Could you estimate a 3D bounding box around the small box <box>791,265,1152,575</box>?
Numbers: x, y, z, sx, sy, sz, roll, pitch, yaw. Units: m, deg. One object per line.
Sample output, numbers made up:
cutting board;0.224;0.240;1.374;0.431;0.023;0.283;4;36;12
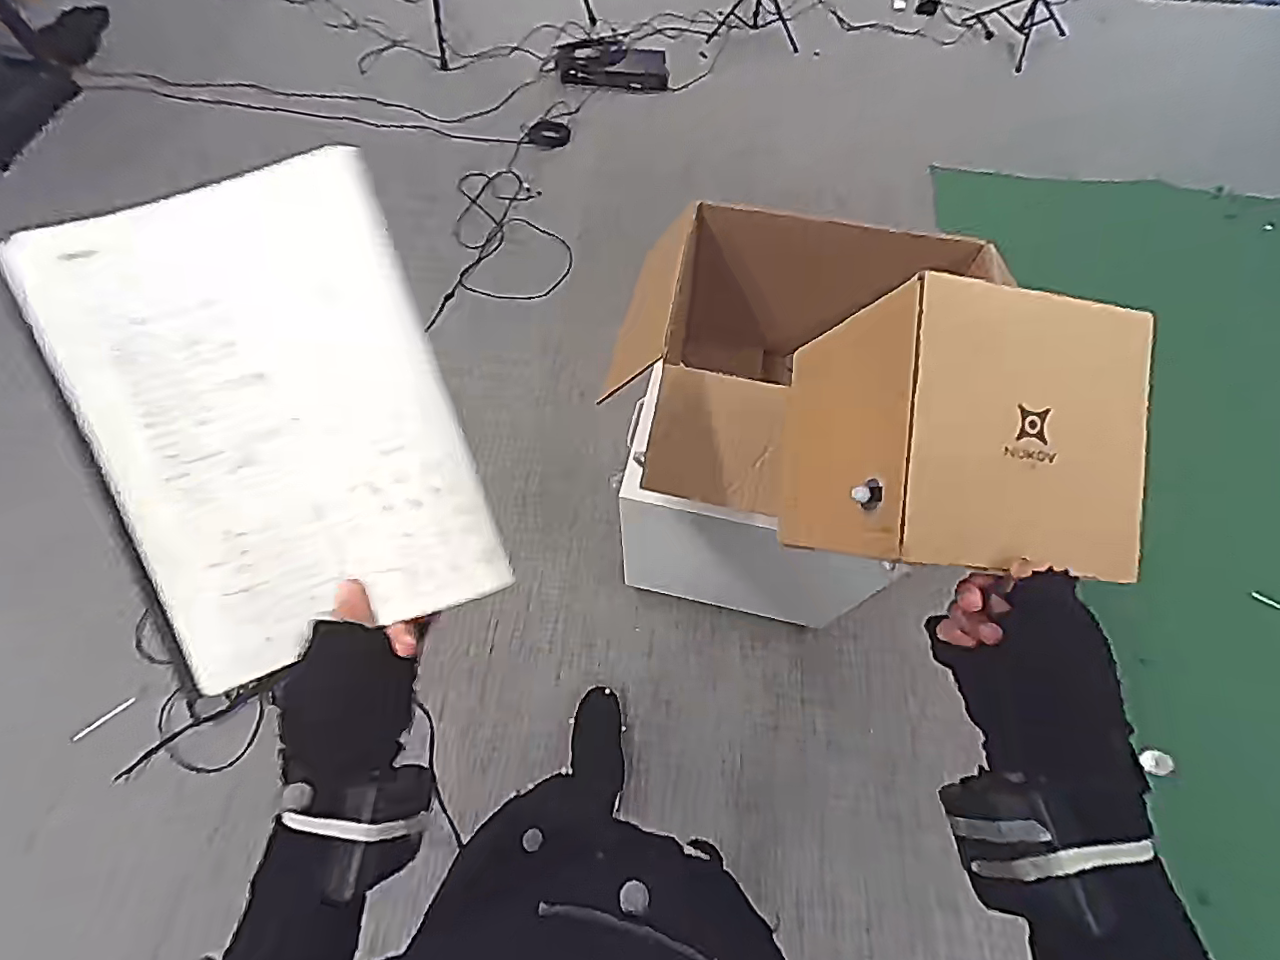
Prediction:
small box;0.229;-0.031;0.411;0.168;0.176;0.179;6;87;-9
